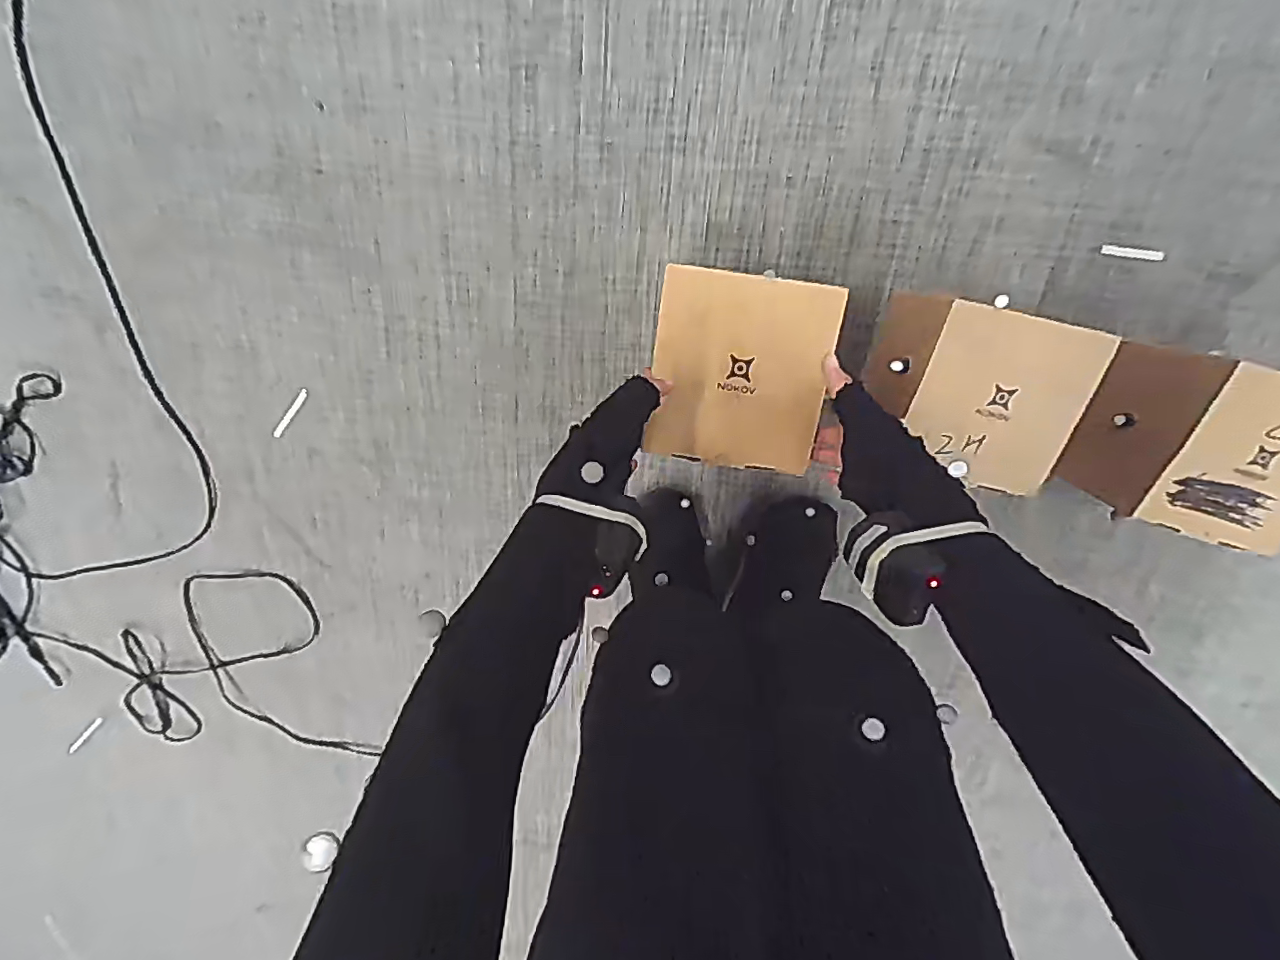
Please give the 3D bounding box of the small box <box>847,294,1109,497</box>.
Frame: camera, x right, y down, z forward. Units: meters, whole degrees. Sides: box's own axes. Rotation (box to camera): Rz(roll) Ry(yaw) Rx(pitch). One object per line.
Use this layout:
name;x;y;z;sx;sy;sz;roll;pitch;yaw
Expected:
small box;0.358;-0.106;0.618;0.168;0.176;0.179;14;113;1

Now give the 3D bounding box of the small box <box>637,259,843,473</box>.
small box;0.093;-0.121;0.575;0.168;0.176;0.179;9;105;2
